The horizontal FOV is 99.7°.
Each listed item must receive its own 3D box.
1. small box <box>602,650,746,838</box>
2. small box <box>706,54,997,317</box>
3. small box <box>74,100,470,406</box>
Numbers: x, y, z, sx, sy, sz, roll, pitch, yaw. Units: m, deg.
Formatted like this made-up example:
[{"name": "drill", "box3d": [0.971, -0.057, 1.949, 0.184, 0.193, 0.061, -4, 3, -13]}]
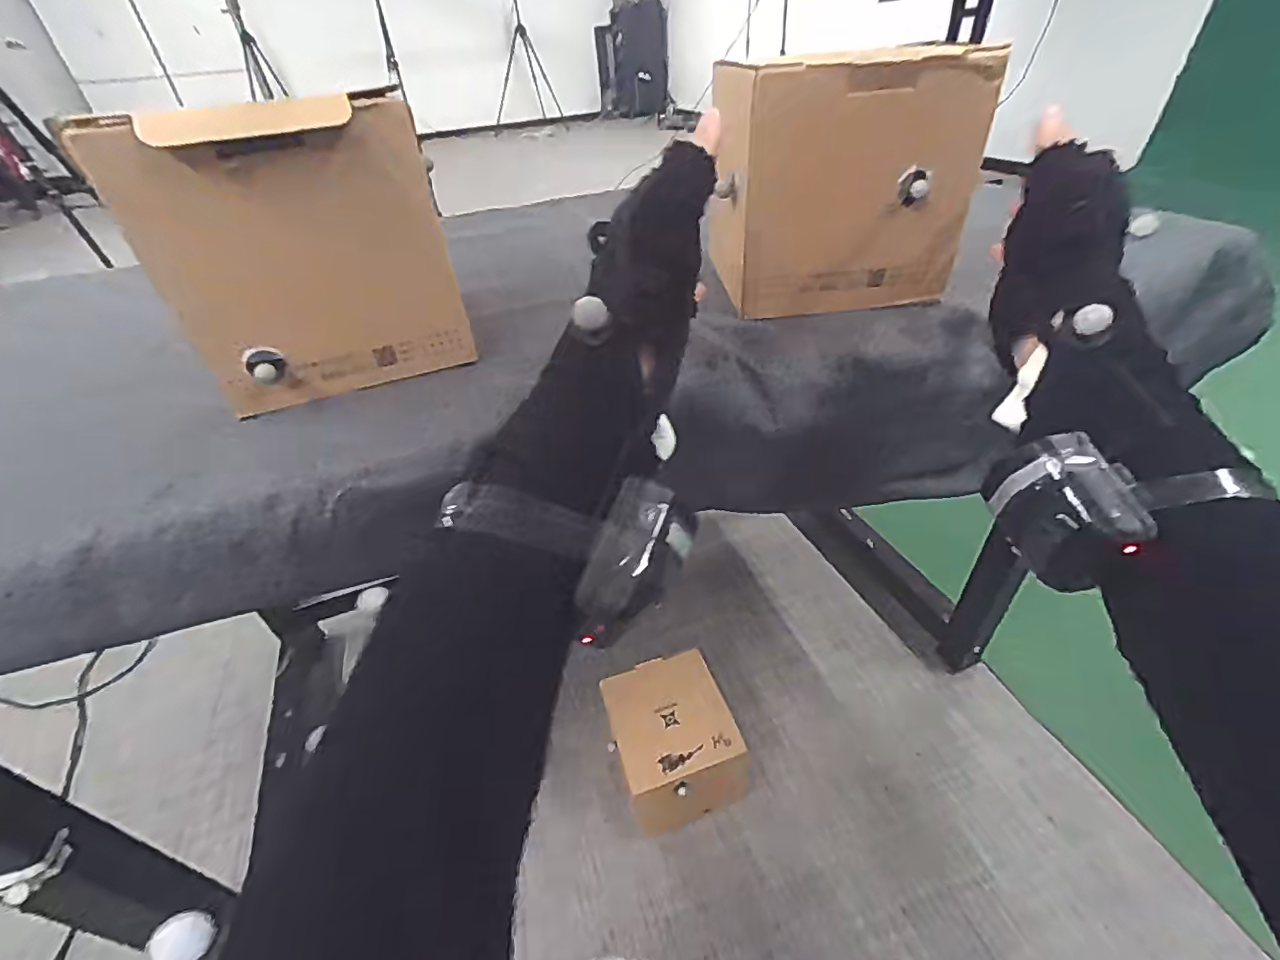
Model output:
[{"name": "small box", "box3d": [0.048, 0.401, 0.828, 0.168, 0.176, 0.179, -15, 38, -11]}, {"name": "small box", "box3d": [0.150, -0.245, 0.457, 0.168, 0.176, 0.179, -4, 37, -1]}, {"name": "small box", "box3d": [-0.239, -0.170, 0.404, 0.168, 0.176, 0.179, -18, 39, -17]}]
